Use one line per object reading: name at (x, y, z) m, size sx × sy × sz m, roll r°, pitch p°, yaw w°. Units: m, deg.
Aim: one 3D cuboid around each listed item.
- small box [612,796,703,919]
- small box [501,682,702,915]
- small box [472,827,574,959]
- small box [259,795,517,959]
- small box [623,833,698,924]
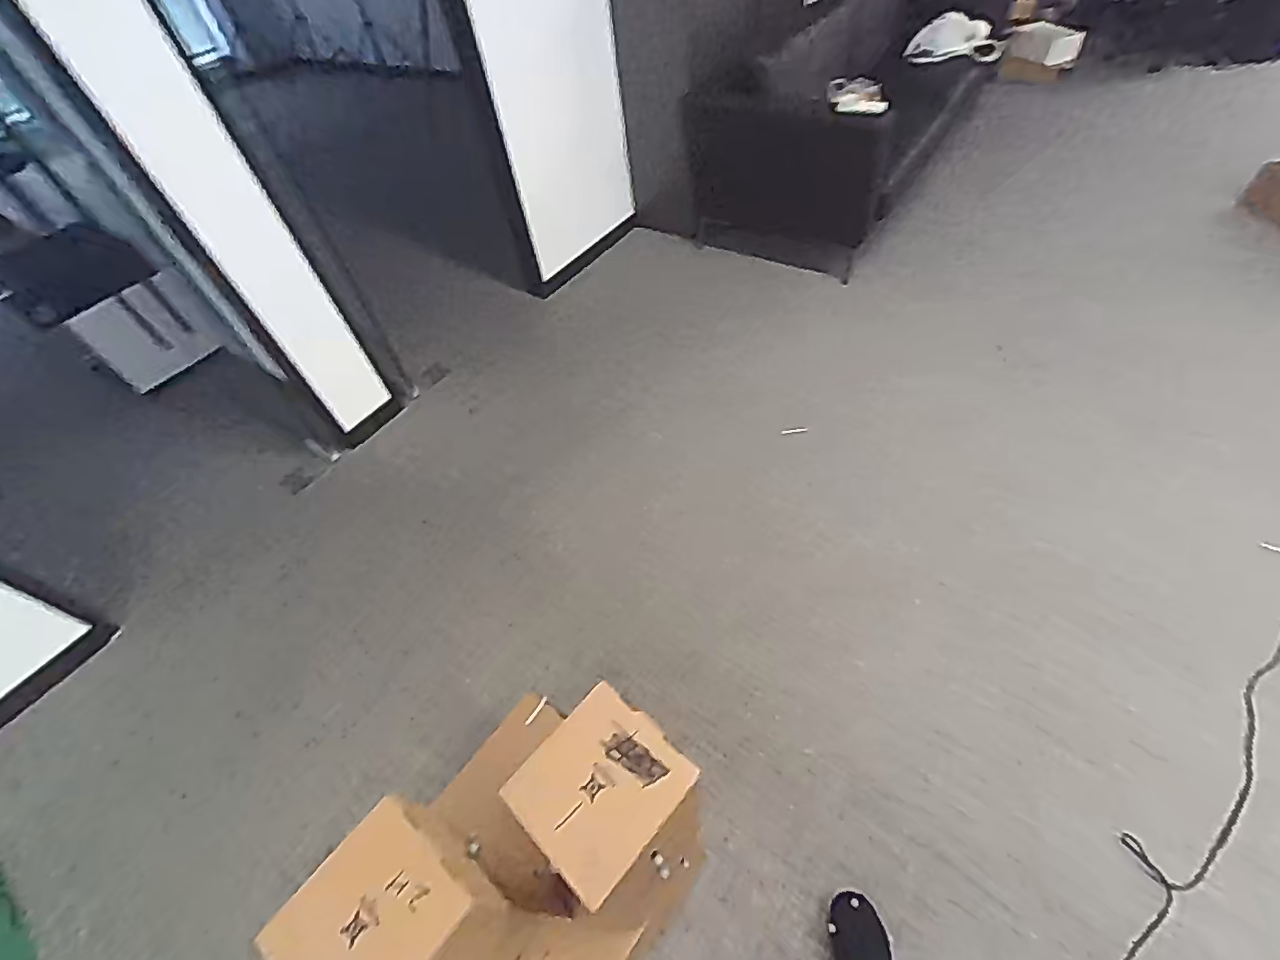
small box at (-0.023, 0.504, 0.804) m, size 0.168 × 0.176 × 0.179 m, roll 32°, pitch 61°, yaw 31°
small box at (-0.038, 0.398, 0.679) m, size 0.168 × 0.176 × 0.179 m, roll 32°, pitch 62°, yaw 31°
small box at (-0.236, 0.715, 0.879) m, size 0.179 × 0.176 × 0.168 m, roll 30°, pitch 62°, yaw 31°
small box at (-0.273, 0.510, 0.622) m, size 0.168 × 0.176 × 0.179 m, roll 29°, pitch 61°, yaw 30°
small box at (-0.015, 0.612, 0.926) m, size 0.179 × 0.176 × 0.168 m, roll 31°, pitch 60°, yaw 31°
